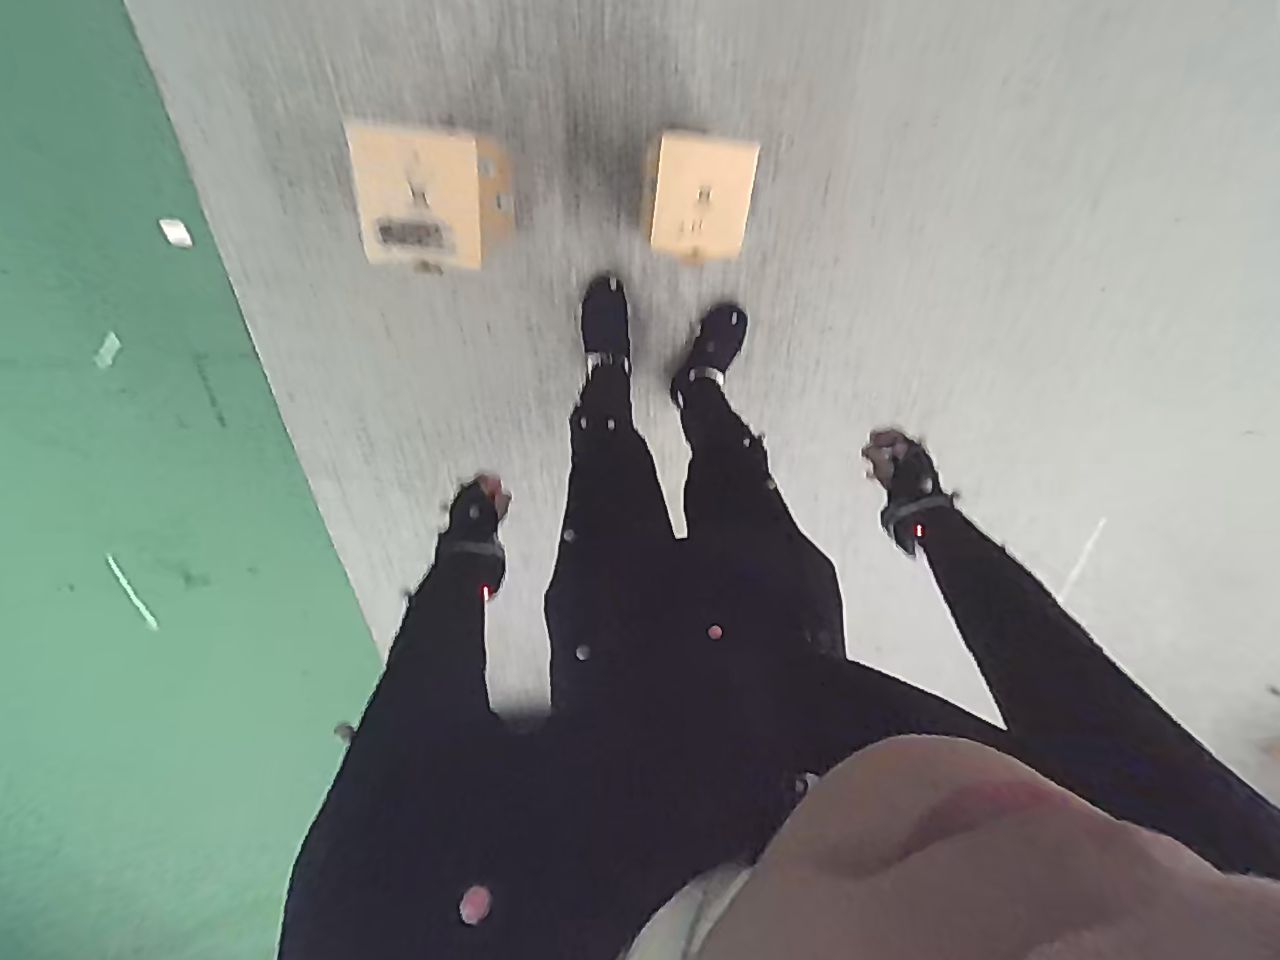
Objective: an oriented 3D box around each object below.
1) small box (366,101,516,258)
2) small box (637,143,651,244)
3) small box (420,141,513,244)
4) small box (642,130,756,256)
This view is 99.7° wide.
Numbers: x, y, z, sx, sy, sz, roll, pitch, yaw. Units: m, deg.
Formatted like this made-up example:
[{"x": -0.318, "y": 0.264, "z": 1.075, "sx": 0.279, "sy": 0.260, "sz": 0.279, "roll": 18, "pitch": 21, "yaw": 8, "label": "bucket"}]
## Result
[{"x": -0.342, "y": -0.528, "z": 0.959, "sx": 0.179, "sy": 0.176, "sz": 0.168, "roll": 31, "pitch": 115, "yaw": -21, "label": "small box"}, {"x": 0.083, "y": -0.601, "z": 1.136, "sx": 0.168, "sy": 0.176, "sz": 0.179, "roll": -1, "pitch": 122, "yaw": -5, "label": "small box"}, {"x": -0.353, "y": -0.592, "z": 1.101, "sx": 0.168, "sy": 0.176, "sz": 0.179, "roll": 2, "pitch": 120, "yaw": -7, "label": "small box"}, {"x": 0.097, "y": -0.524, "z": 0.991, "sx": 0.168, "sy": 0.176, "sz": 0.179, "roll": 4, "pitch": 121, "yaw": -7, "label": "small box"}]
